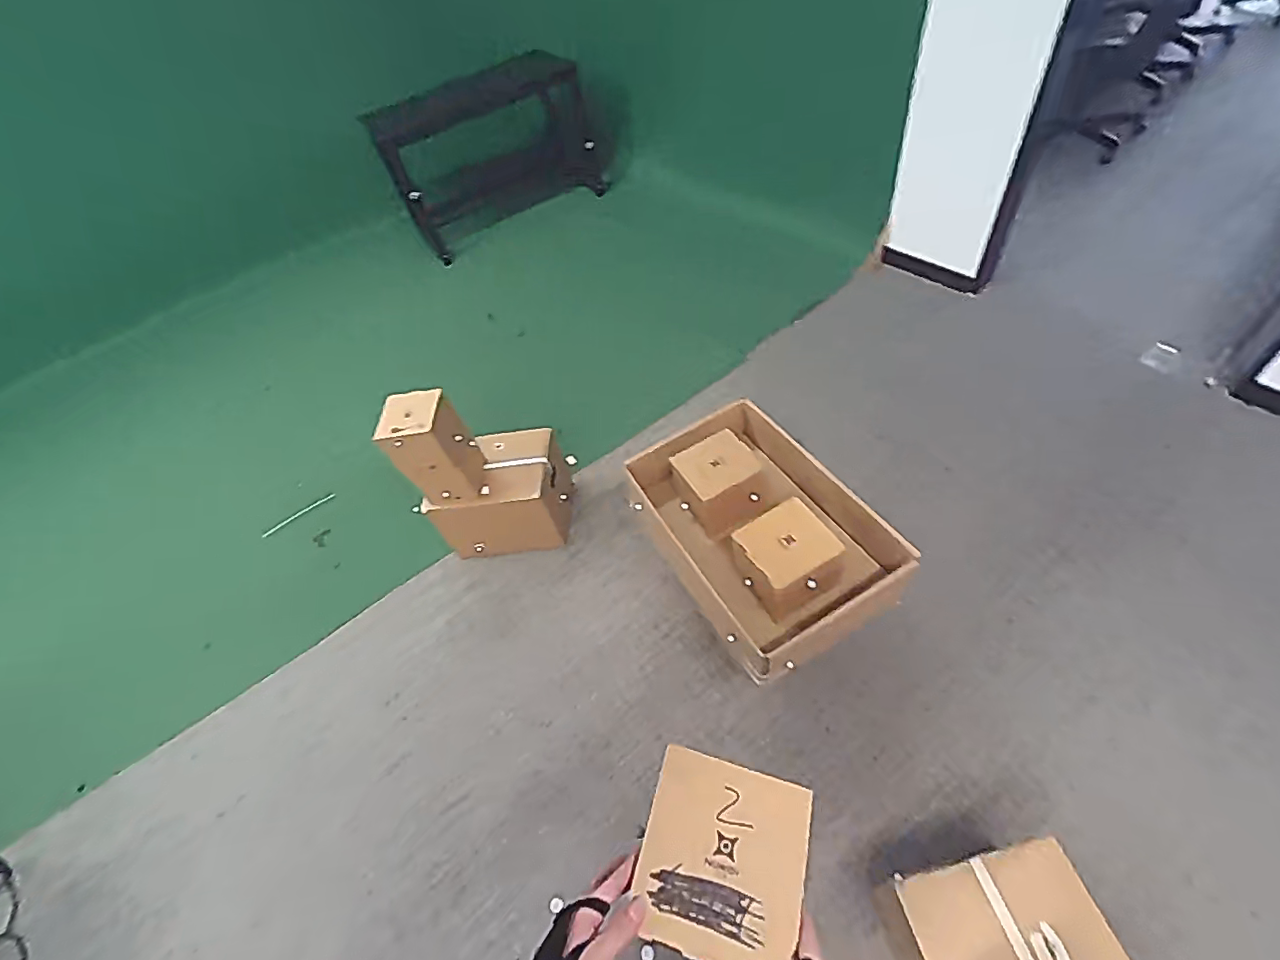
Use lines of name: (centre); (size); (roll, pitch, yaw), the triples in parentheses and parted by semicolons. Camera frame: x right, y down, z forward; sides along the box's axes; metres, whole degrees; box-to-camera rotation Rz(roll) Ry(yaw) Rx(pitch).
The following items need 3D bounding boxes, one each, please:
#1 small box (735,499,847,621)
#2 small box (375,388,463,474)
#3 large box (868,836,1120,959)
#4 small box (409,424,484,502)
small box: (0.327, 0.180, 1.202); (0.179, 0.176, 0.168); (-29, 52, -9)
small box: (-0.635, -0.142, 1.582); (0.168, 0.176, 0.179); (-7, 51, 6)
large box: (0.672, 0.937, 0.983); (0.320, 0.320, 0.408); (-16, 50, -1)
small box: (-0.610, -0.051, 1.717); (0.168, 0.176, 0.179); (-7, 52, 7)
